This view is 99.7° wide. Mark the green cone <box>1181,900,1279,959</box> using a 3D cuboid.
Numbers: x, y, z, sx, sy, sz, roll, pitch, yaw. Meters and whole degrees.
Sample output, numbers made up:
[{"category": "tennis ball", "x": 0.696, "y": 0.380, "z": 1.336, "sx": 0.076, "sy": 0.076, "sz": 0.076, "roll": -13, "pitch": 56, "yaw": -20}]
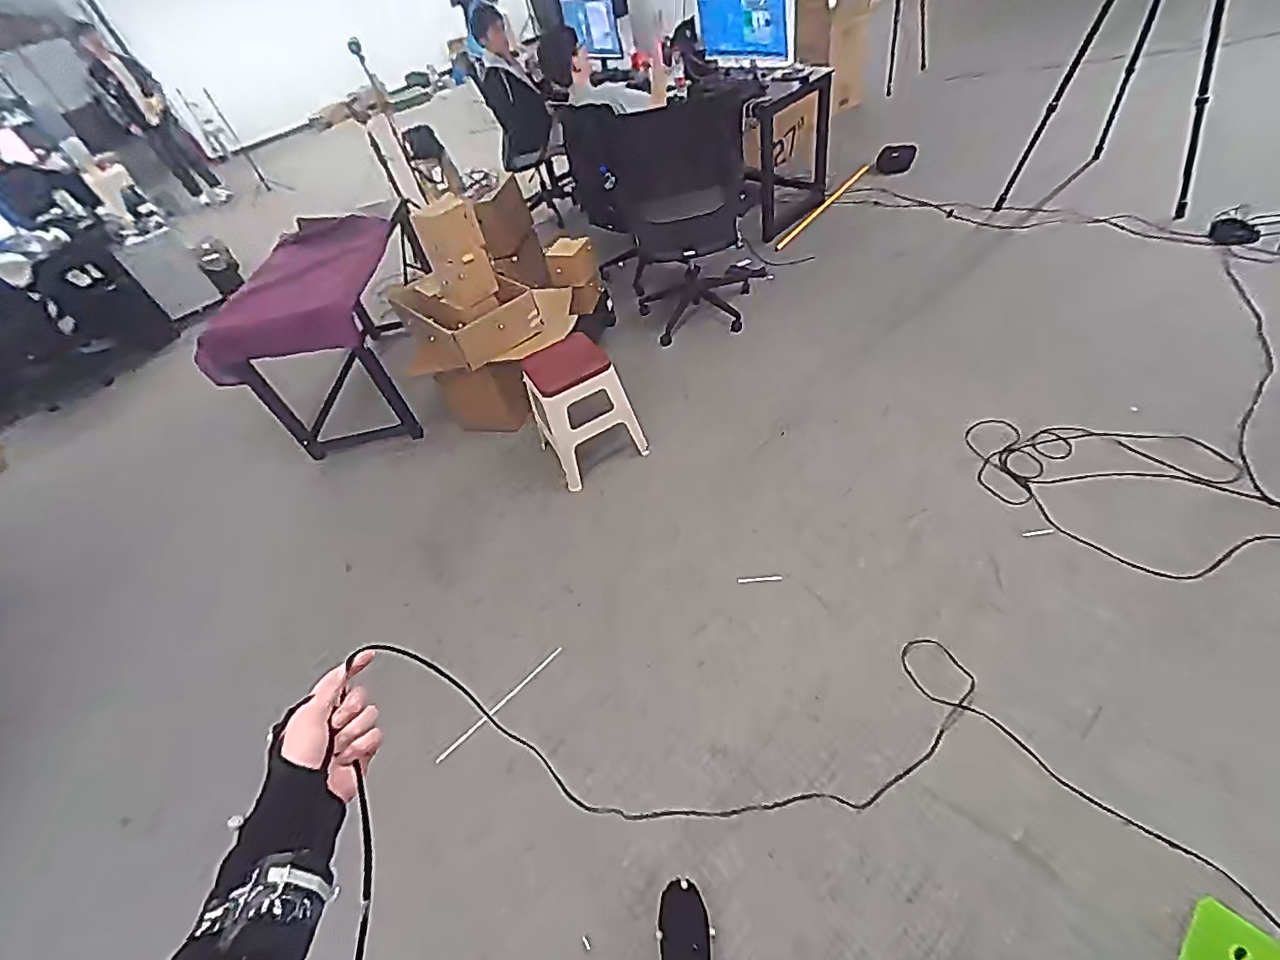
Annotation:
[{"category": "green cone", "x": 1.117, "y": 0.830, "z": 0.882, "sx": 0.200, "sy": 0.368, "sz": 0.202, "roll": 32, "pitch": 61, "yaw": 35}]
